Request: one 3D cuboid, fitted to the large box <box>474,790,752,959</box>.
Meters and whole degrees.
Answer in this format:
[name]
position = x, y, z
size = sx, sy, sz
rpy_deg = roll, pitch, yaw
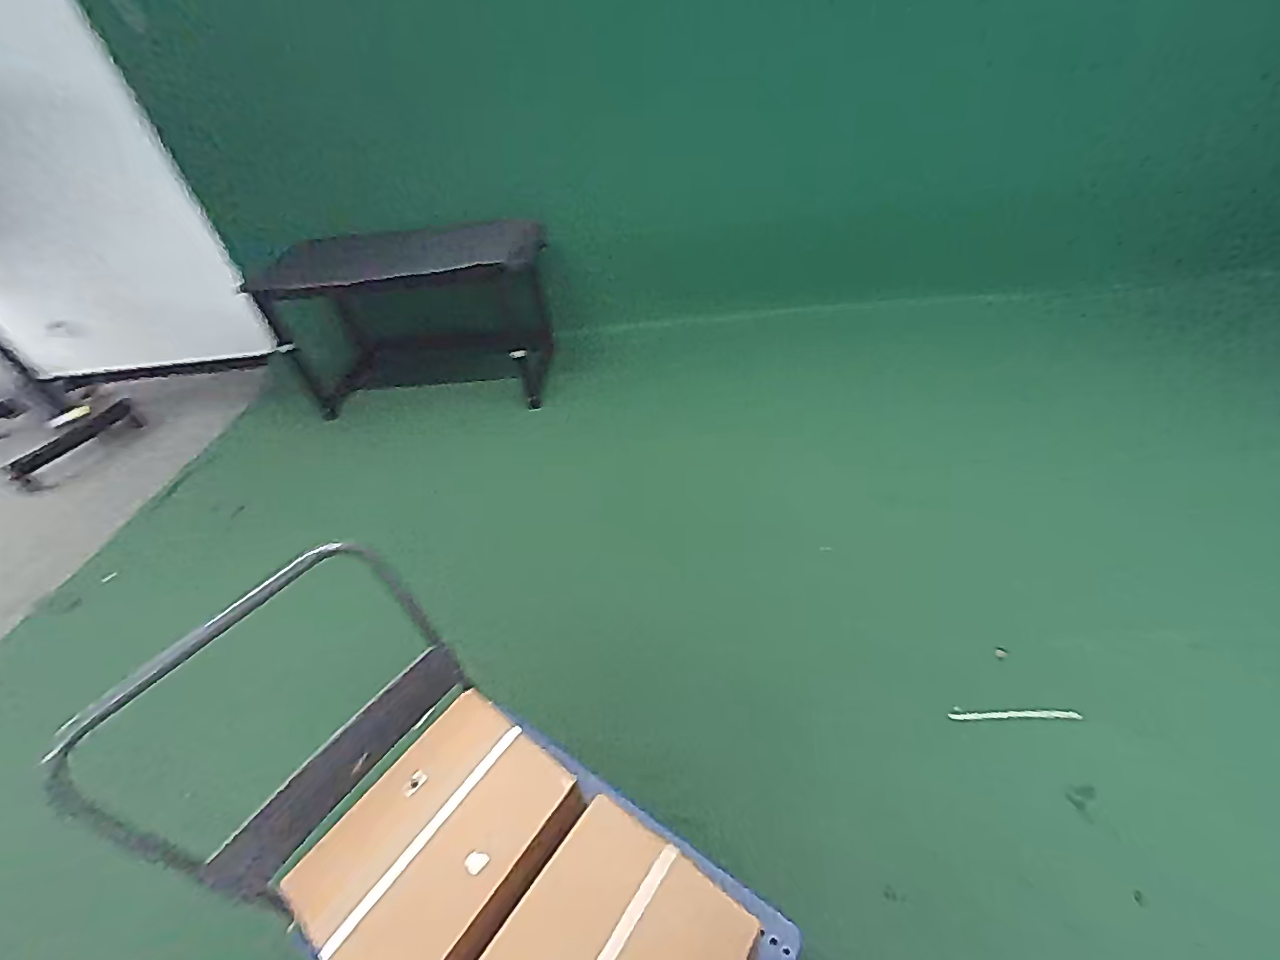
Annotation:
[large box]
position = -0.054, 0.807, 0.848
size = 0.320, 0.320, 0.408
rpy_deg = 22, 51, 31
